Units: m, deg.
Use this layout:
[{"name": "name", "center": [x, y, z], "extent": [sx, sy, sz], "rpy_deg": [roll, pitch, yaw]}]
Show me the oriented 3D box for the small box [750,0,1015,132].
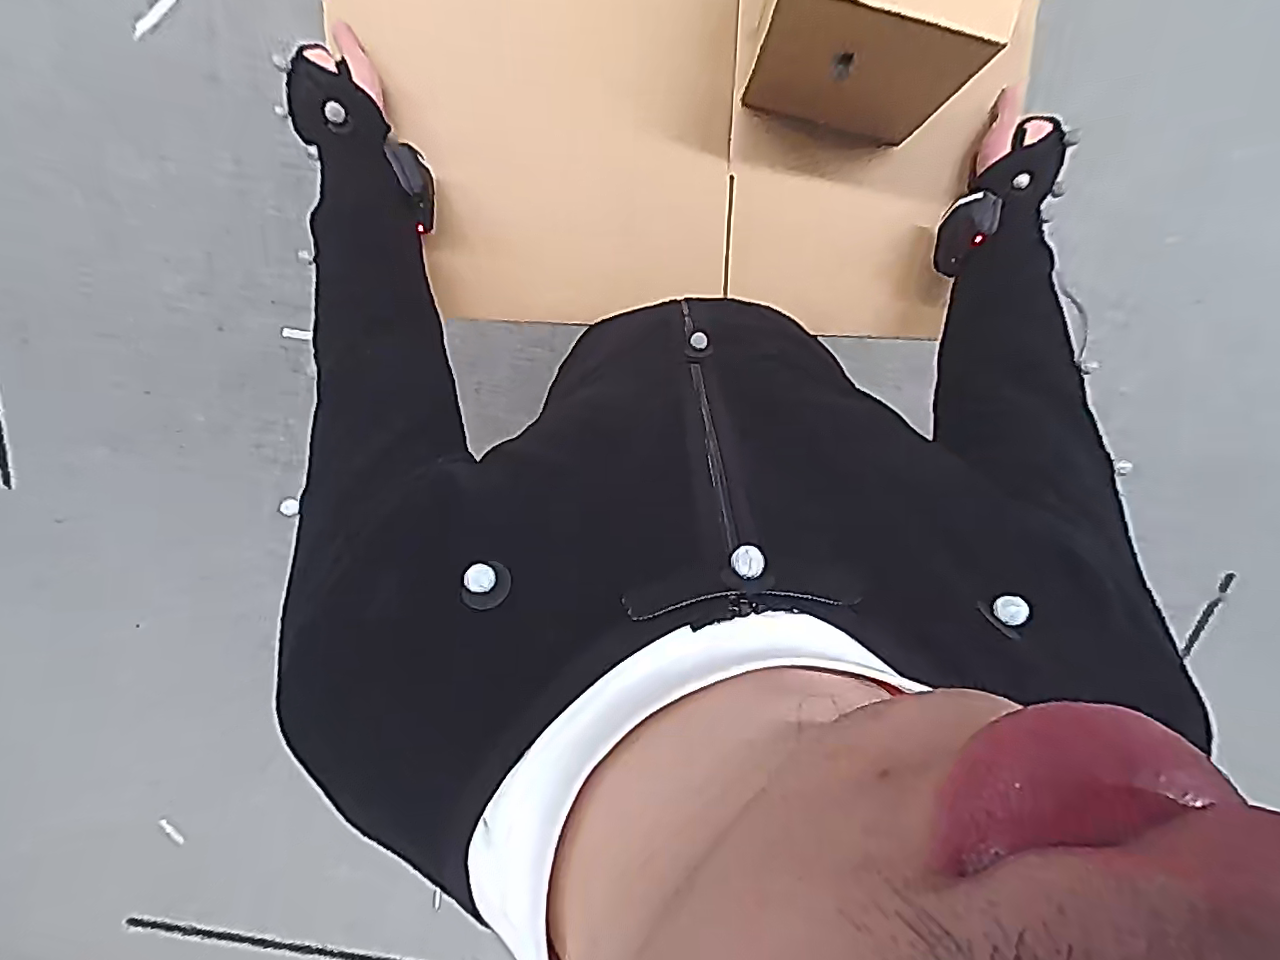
[{"name": "small box", "center": [0.208, -0.439, 0.470], "extent": [0.179, 0.176, 0.168], "rpy_deg": [13, 100, -1]}]
